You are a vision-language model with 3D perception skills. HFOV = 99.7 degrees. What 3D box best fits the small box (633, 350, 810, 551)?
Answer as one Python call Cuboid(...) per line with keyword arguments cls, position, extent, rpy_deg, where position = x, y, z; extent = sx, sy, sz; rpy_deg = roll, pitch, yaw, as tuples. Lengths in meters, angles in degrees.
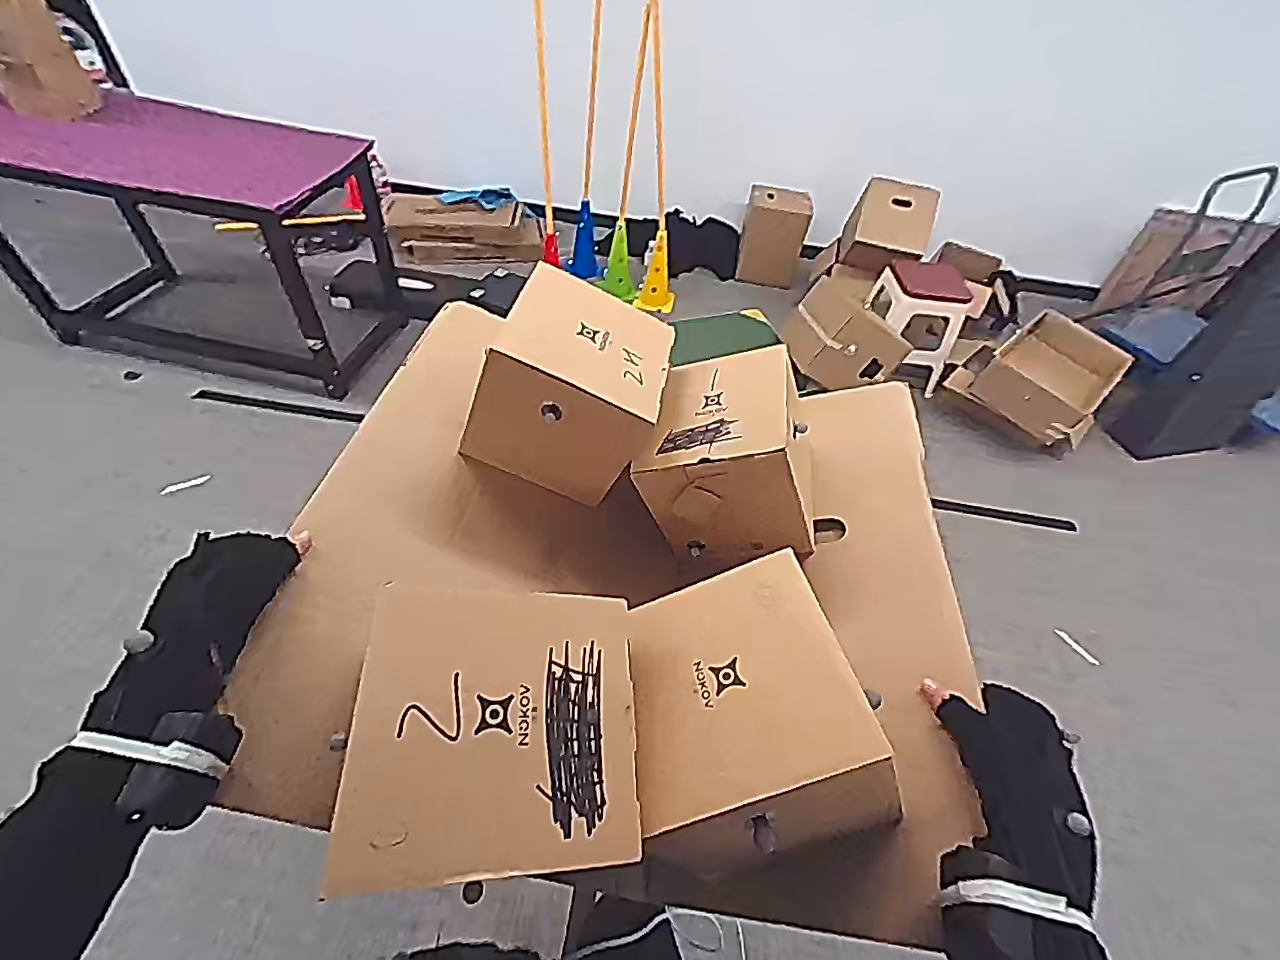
Cuboid(cls="small box", position=(0.110, -0.025, 0.658), extent=(0.168, 0.176, 0.179), rpy_deg=(-7, 44, 23))
